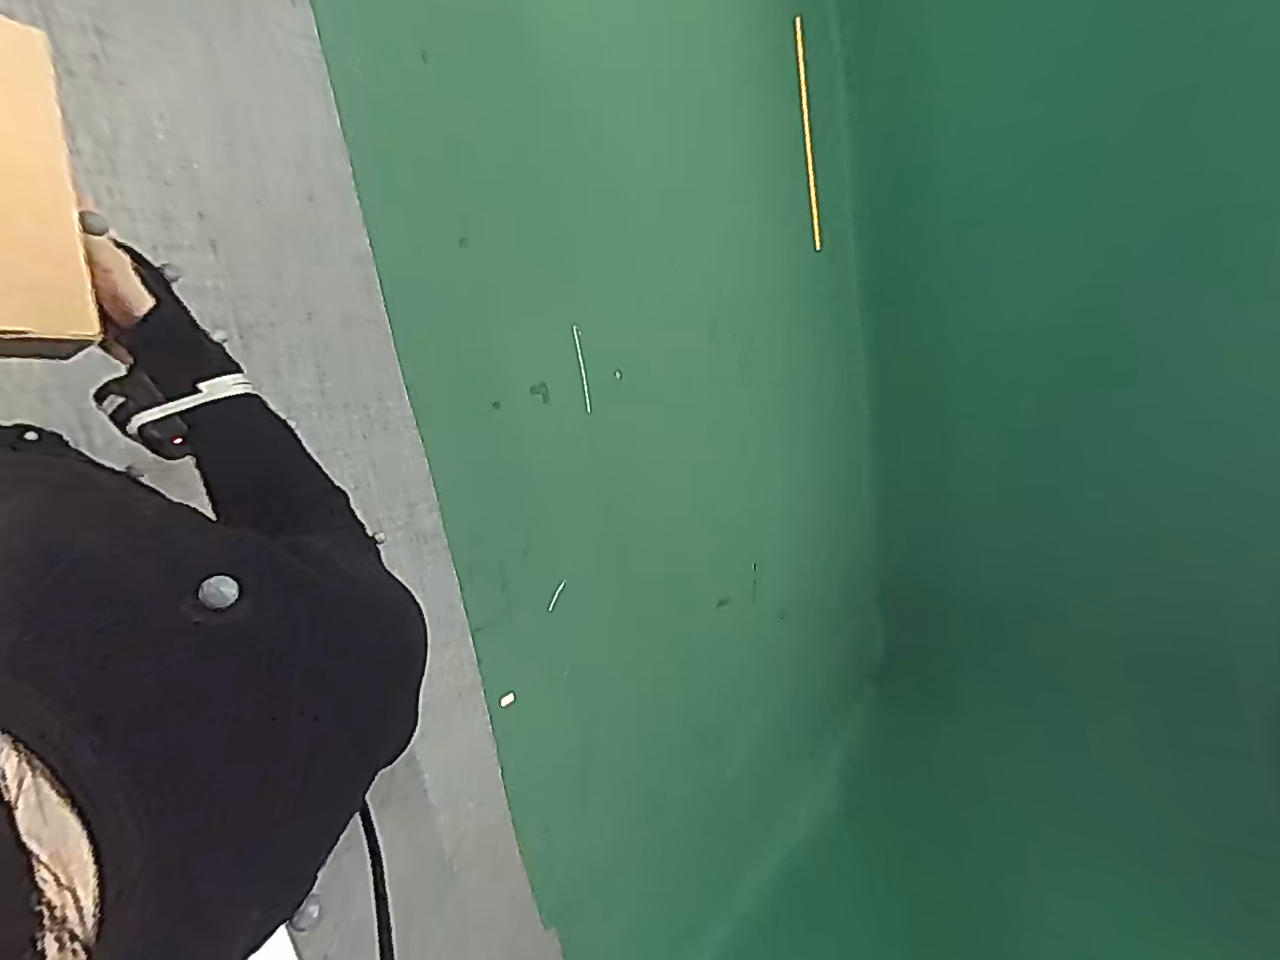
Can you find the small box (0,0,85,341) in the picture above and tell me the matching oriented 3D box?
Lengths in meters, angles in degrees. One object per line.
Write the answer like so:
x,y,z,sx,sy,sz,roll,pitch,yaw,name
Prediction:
-0.450,-0.176,0.298,0.168,0.176,0.179,-14,106,-51,small box
